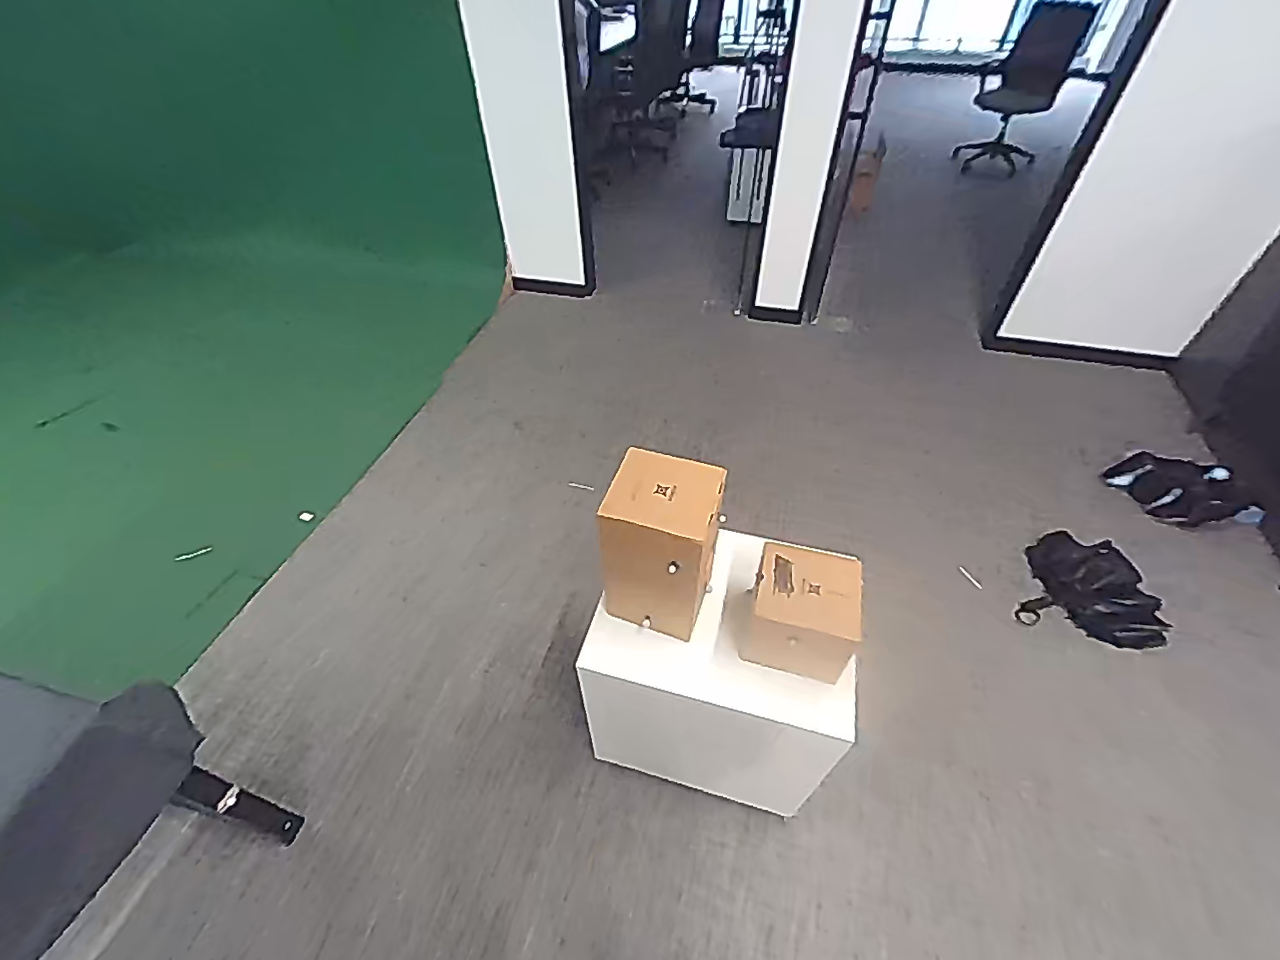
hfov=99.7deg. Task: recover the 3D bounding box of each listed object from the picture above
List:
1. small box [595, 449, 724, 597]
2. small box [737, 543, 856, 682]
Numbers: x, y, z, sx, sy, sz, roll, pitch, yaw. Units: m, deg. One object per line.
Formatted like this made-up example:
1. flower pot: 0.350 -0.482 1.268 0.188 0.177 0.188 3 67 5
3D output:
1. small box: 0.033 0.076 0.919 0.179 0.176 0.168 13 45 11
2. small box: 0.283 0.246 0.993 0.179 0.176 0.168 13 47 9
